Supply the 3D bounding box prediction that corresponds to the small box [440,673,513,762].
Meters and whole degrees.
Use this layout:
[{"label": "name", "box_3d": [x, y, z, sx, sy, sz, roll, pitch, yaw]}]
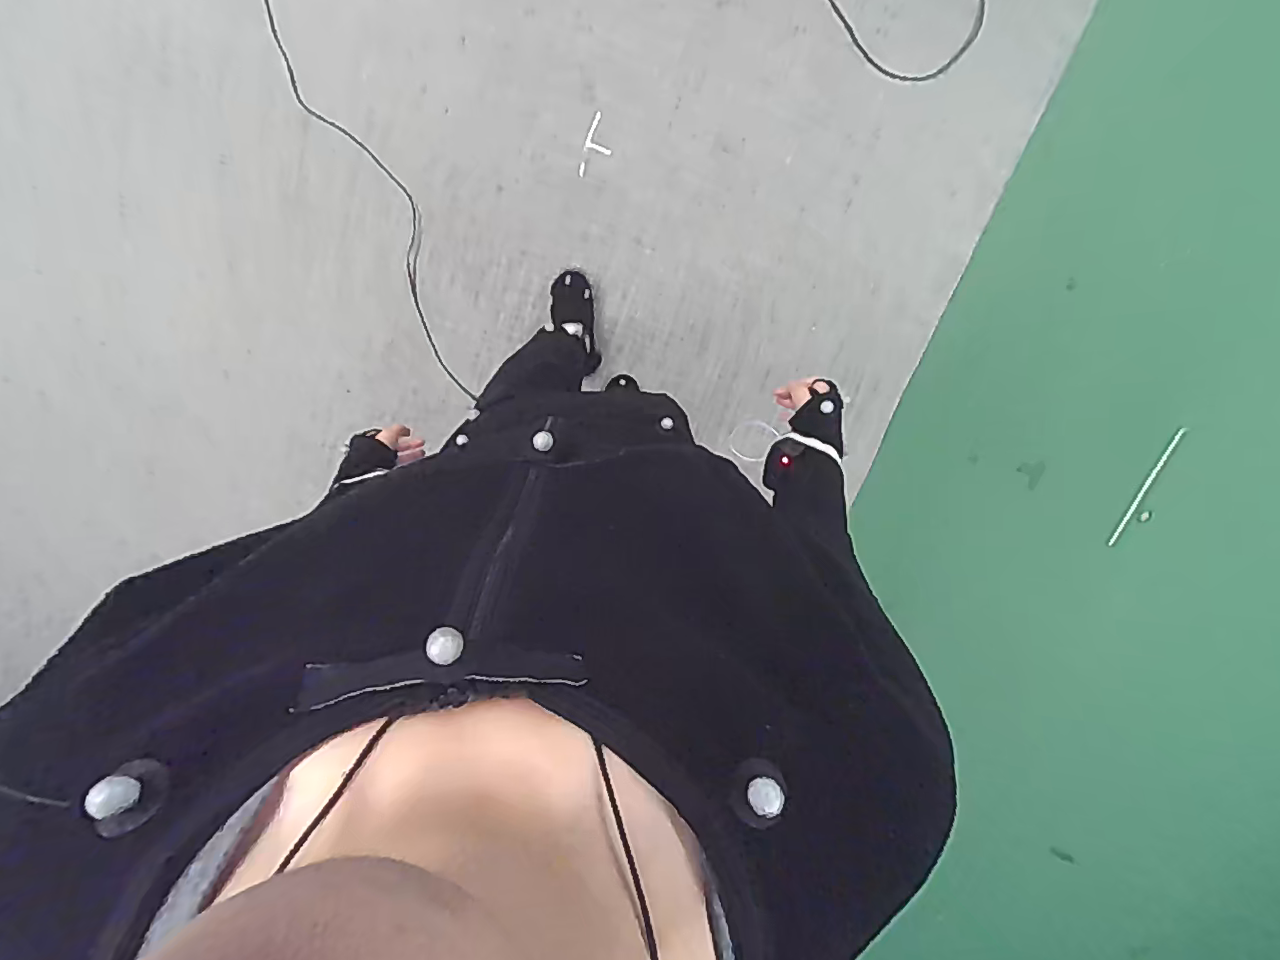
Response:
[{"label": "small box", "box_3d": [-0.496, 0.704, 1.611, 0.179, 0.176, 0.168, 16, 104, -6]}]
